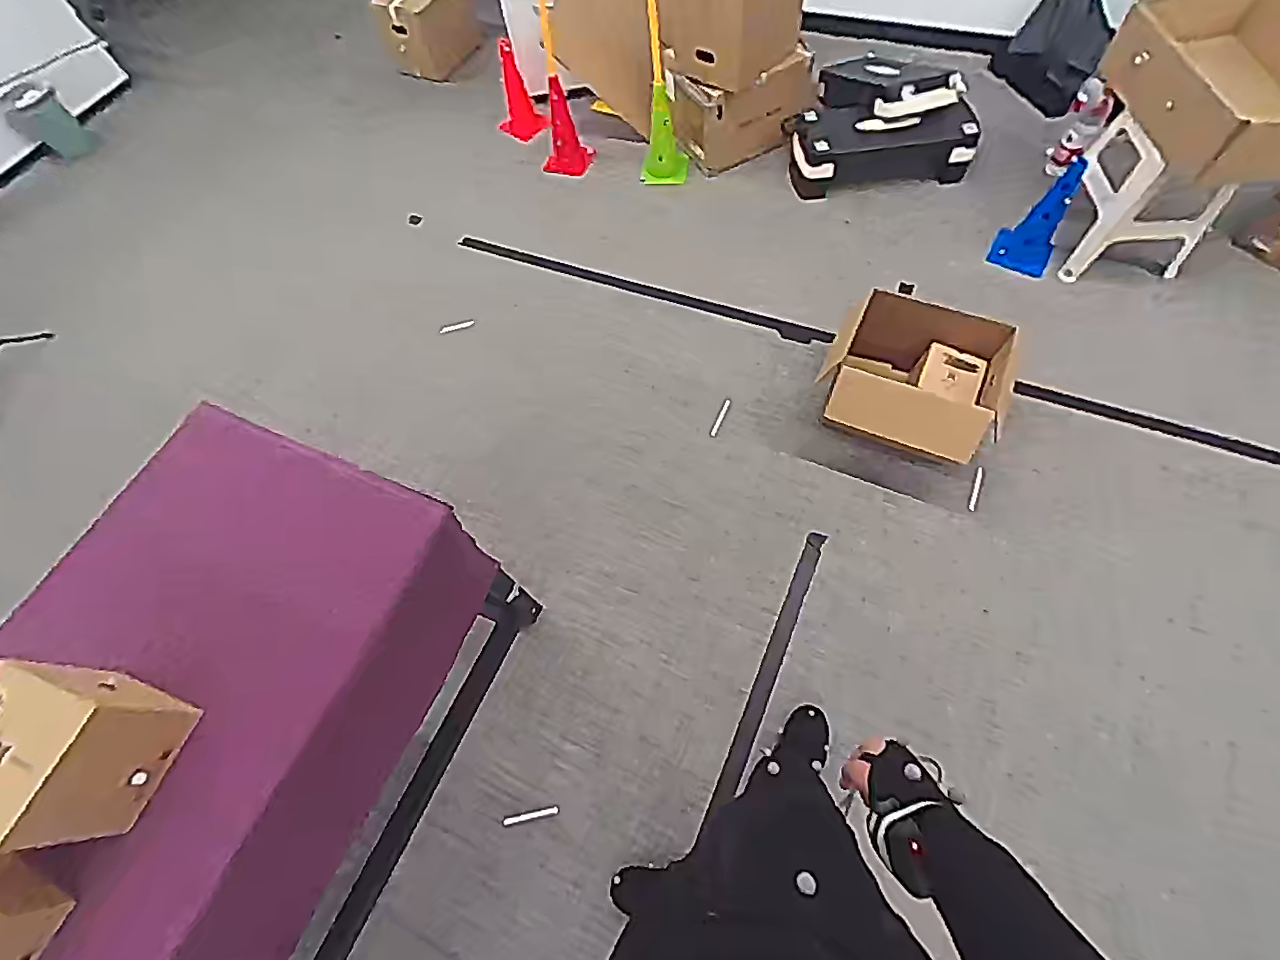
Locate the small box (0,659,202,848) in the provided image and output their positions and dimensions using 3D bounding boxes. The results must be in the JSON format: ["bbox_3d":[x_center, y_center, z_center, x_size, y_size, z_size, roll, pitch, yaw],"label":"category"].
[{"bbox_3d":[-0.767,0.362,0.729,0.179,0.176,0.168,16,66,12],"label":"small box"}]

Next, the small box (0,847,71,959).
[{"bbox_3d":[-0.860,0.565,0.637,0.179,0.176,0.168,19,67,14],"label":"small box"}]
